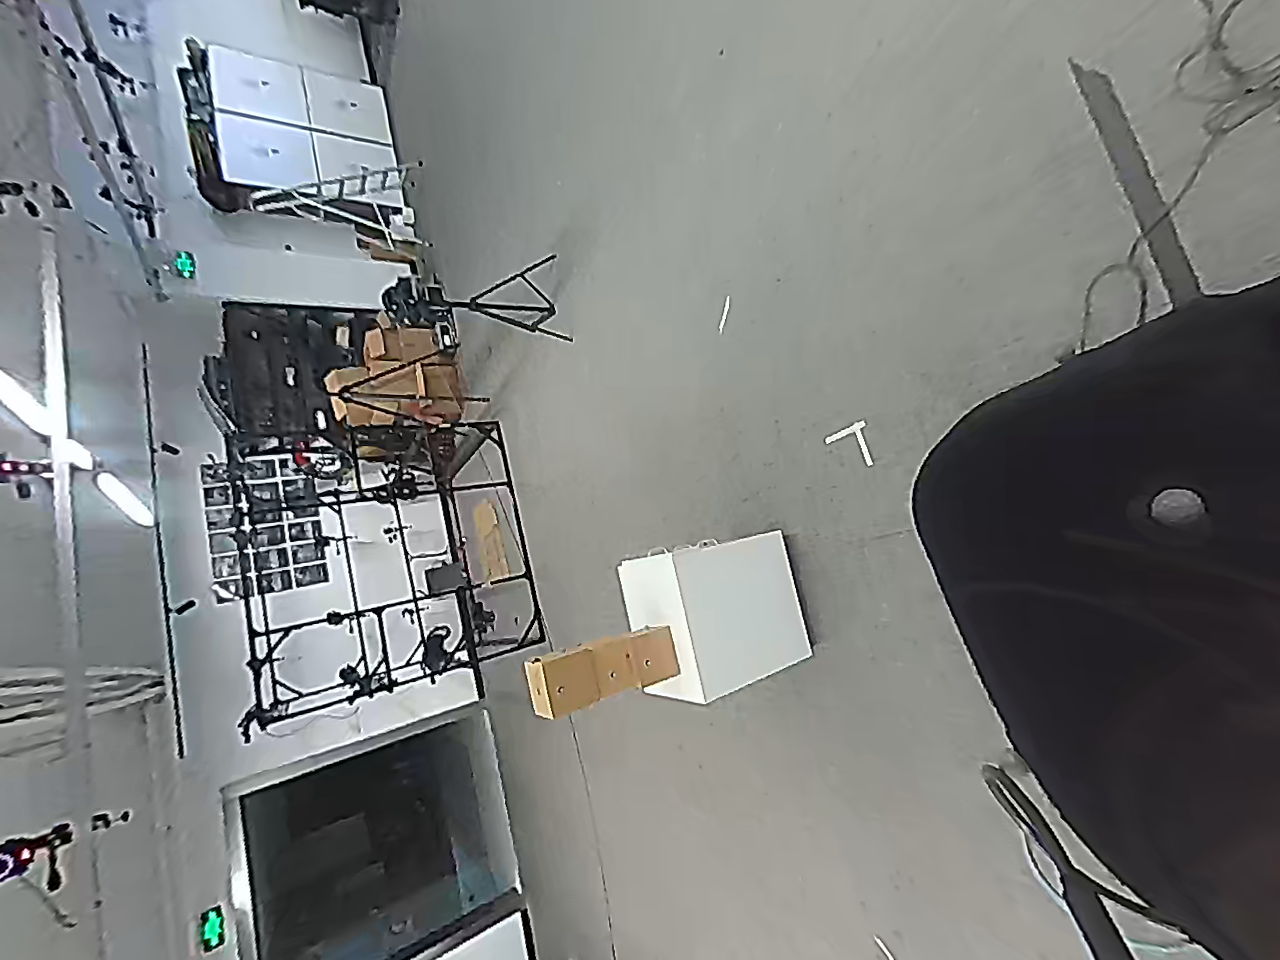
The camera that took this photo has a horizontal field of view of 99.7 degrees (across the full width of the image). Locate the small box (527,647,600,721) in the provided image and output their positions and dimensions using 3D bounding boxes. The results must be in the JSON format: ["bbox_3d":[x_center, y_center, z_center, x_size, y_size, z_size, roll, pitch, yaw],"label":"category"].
[{"bbox_3d":[-0.247,0.658,1.762,0.168,0.176,0.179,-26,75,55],"label":"small box"}]

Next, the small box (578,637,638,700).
[{"bbox_3d":[-0.119,0.644,1.866,0.179,0.176,0.168,-26,75,57],"label":"small box"}]

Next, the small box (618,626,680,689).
[{"bbox_3d":[0.025,0.634,1.942,0.168,0.176,0.179,-27,73,55],"label":"small box"}]
